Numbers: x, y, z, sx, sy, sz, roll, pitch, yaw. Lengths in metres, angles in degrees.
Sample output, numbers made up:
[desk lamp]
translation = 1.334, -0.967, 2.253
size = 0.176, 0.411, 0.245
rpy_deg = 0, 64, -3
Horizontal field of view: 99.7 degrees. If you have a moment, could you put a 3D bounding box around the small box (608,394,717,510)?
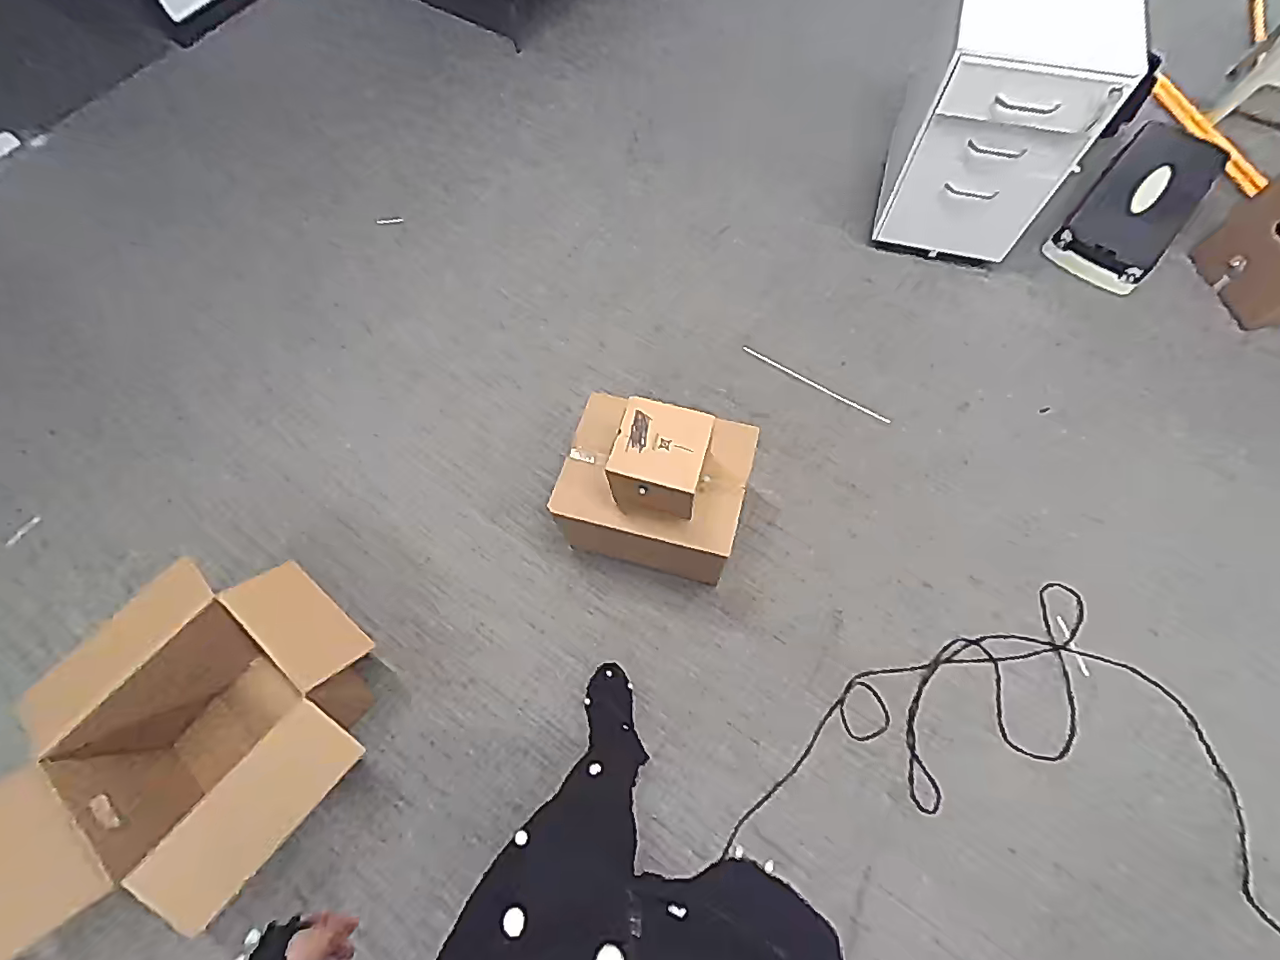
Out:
[small box]
translation = 0.049, -0.051, 1.107
size = 0.179, 0.176, 0.168
rpy_deg = 14, 71, 9
